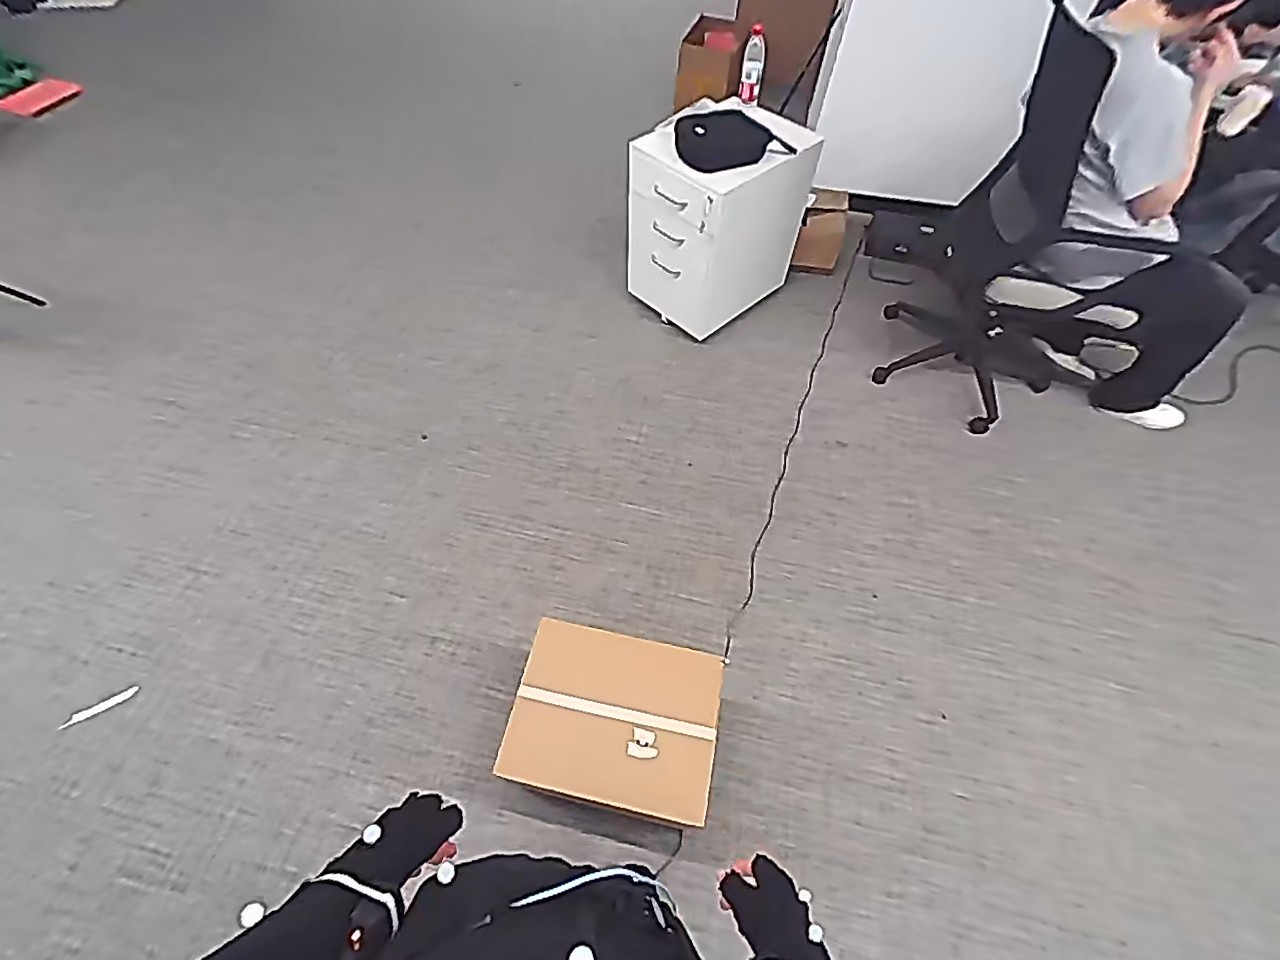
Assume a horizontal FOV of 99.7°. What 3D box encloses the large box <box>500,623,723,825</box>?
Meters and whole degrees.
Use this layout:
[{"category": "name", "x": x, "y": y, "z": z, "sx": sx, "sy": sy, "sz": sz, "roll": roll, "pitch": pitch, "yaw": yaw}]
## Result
[{"category": "large box", "x": -0.052, "y": 0.553, "z": 1.215, "sx": 0.408, "sy": 0.320, "sz": 0.320, "roll": 11, "pitch": 58, "yaw": 5}]
